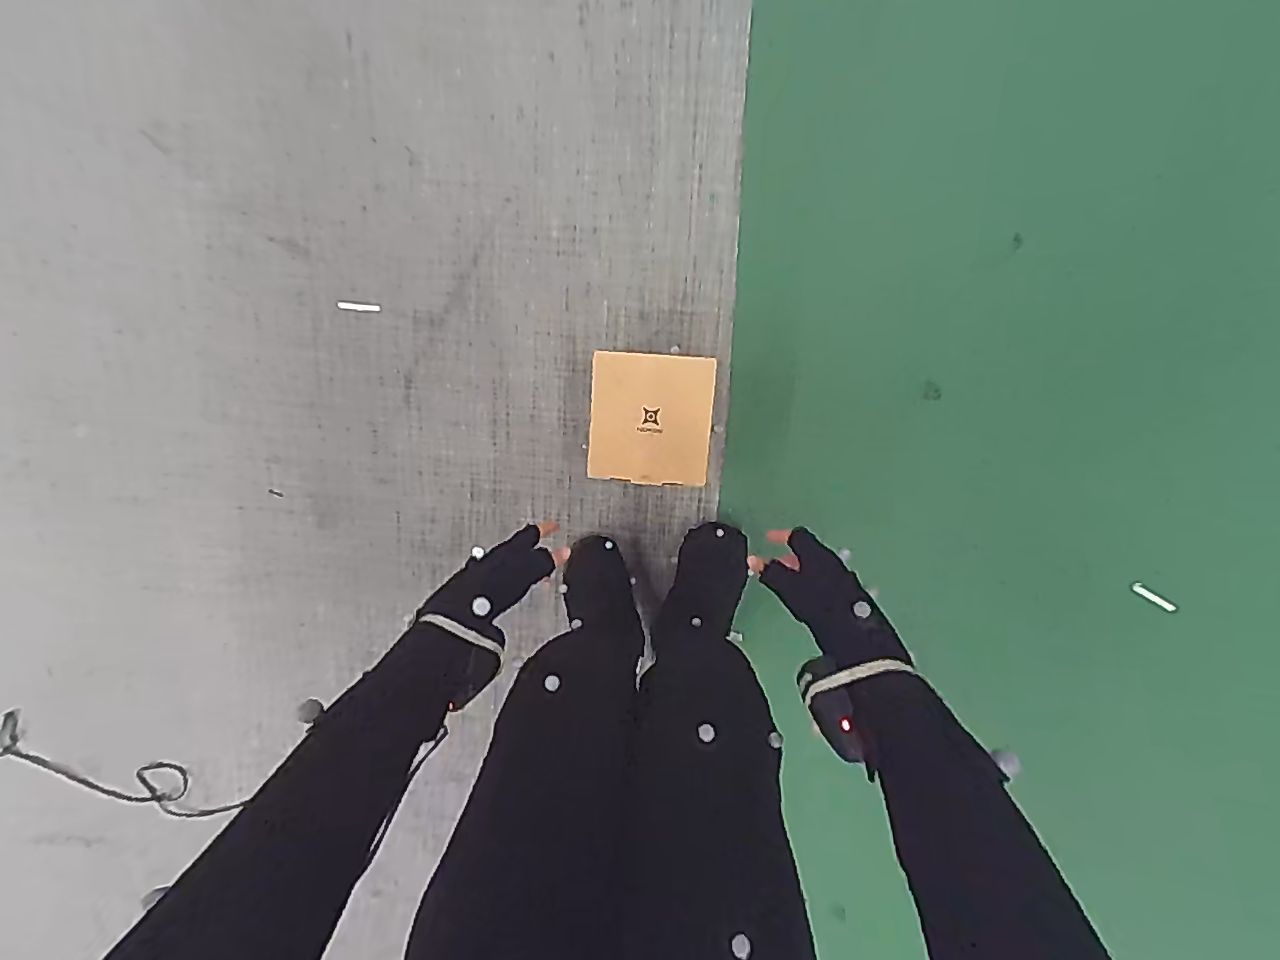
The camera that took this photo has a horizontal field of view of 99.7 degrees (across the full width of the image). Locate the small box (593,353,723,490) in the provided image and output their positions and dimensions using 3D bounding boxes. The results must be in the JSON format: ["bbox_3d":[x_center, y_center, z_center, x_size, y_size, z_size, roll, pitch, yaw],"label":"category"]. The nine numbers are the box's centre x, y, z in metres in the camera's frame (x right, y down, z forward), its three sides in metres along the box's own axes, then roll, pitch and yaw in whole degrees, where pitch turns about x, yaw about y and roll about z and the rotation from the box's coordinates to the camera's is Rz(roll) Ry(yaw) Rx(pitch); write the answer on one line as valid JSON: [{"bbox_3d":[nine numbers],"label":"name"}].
[{"bbox_3d":[0.029,-0.092,0.810,0.168,0.176,0.179,5,102,5],"label":"small box"}]
